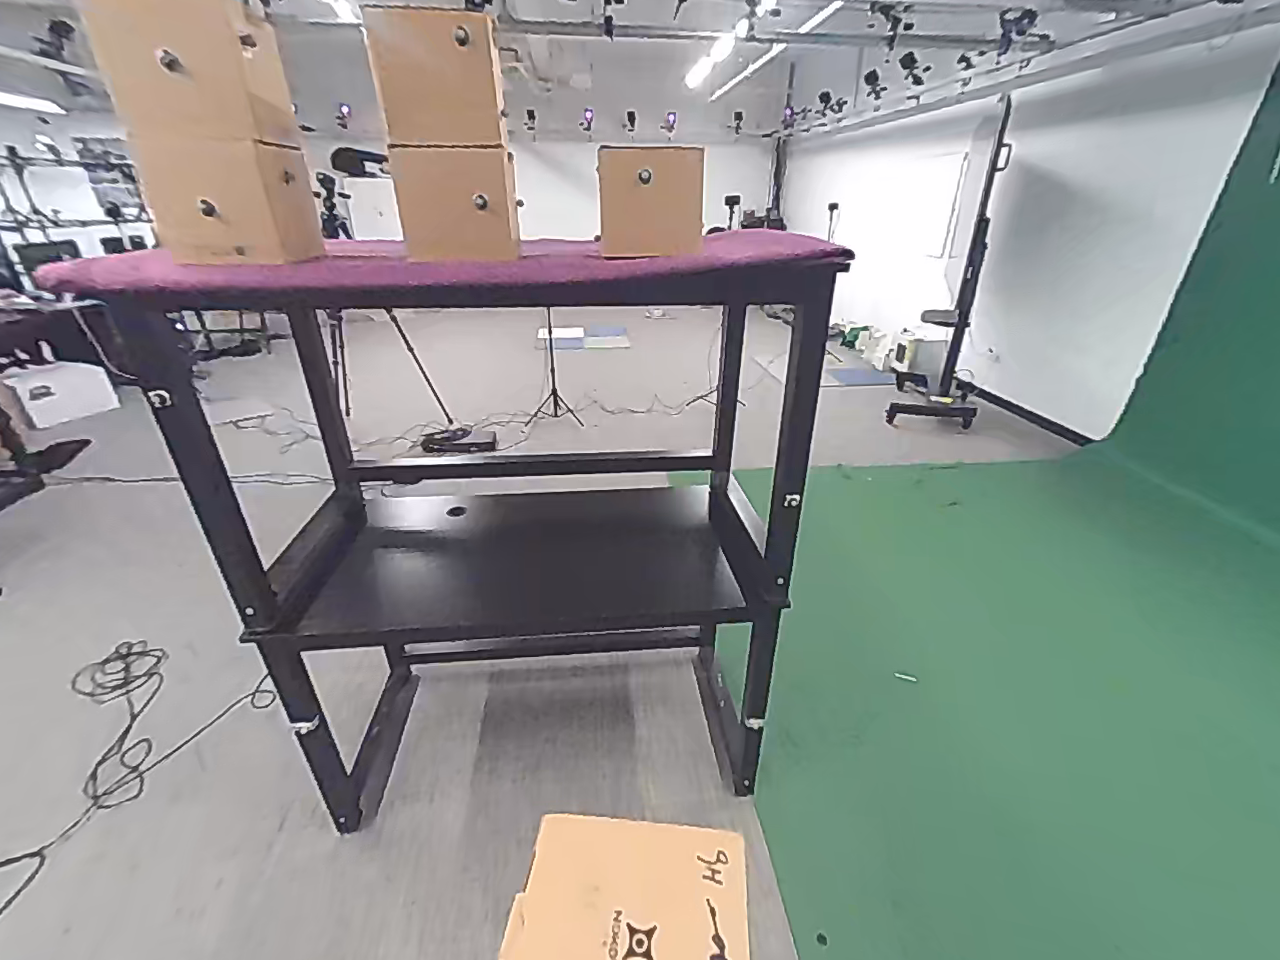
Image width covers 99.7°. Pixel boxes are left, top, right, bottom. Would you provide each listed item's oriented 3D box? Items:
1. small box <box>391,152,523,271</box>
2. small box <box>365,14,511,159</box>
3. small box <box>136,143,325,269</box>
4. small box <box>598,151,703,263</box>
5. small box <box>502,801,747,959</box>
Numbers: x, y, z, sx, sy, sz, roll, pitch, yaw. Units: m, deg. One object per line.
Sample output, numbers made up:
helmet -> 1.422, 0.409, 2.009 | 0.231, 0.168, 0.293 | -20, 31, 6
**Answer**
small box -> -0.303, -0.463, 0.937 | 0.179, 0.176, 0.168 | -4, 26, -6
small box -> -0.309, -0.610, 0.865 | 0.179, 0.176, 0.168 | -4, 26, -8
small box -> -0.639, -0.439, 0.876 | 0.168, 0.176, 0.179 | -2, 27, -8
small box -> 0.015, -0.491, 0.989 | 0.179, 0.176, 0.168 | -2, 25, -4
small box -> -0.004, 0.395, 0.438 | 0.179, 0.176, 0.168 | 1, 31, 8
